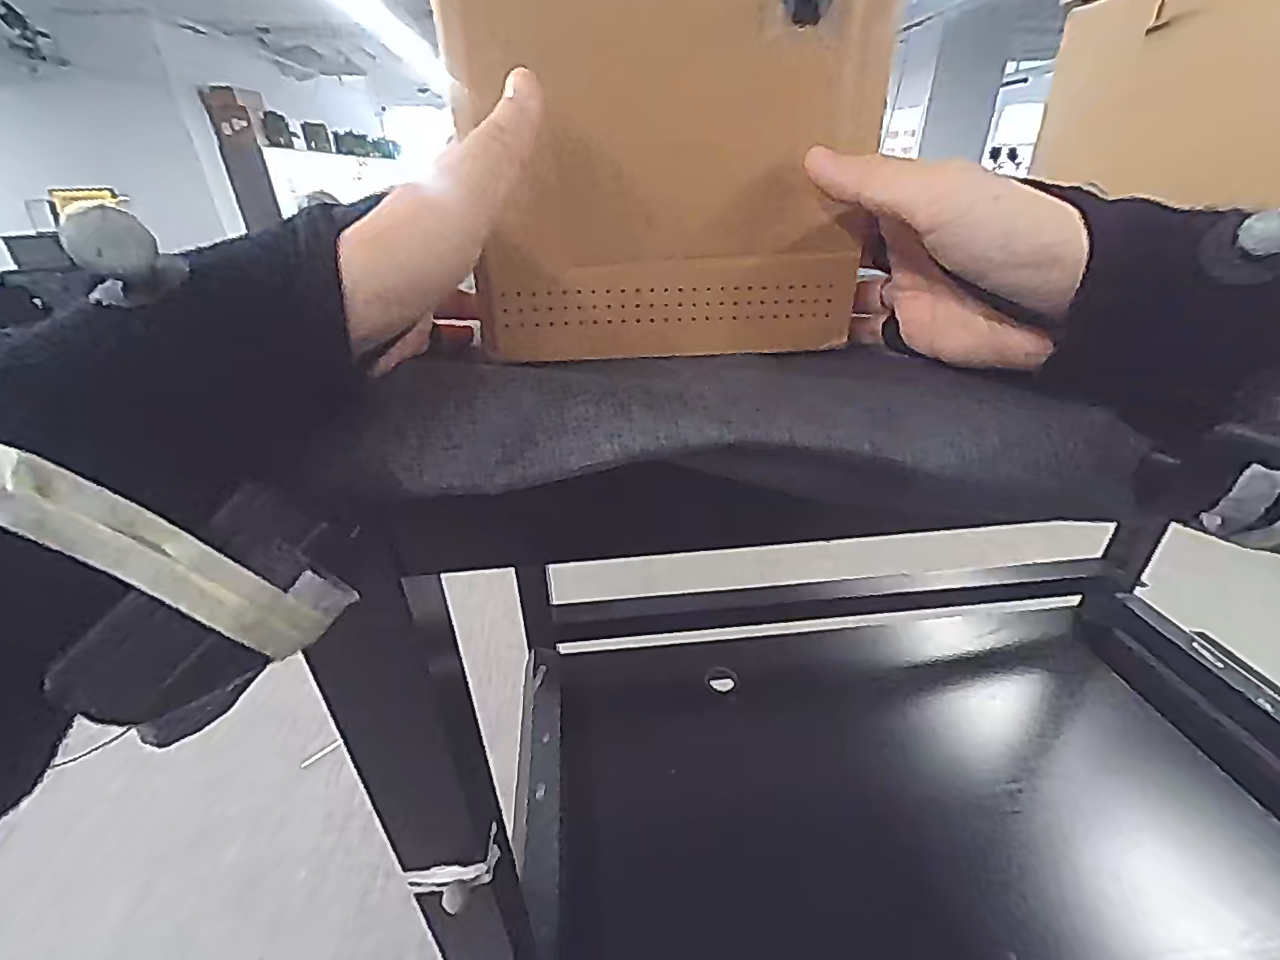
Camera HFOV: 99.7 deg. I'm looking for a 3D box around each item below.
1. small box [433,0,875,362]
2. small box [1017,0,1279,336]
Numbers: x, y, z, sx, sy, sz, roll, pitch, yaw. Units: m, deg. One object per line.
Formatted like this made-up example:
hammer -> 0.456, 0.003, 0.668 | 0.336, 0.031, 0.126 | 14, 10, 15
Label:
small box -> 0.000, -0.164, 0.286 | 0.179, 0.176, 0.168 | -4, 27, -9
small box -> 0.355, -0.182, 0.305 | 0.179, 0.176, 0.168 | -5, 28, -8
